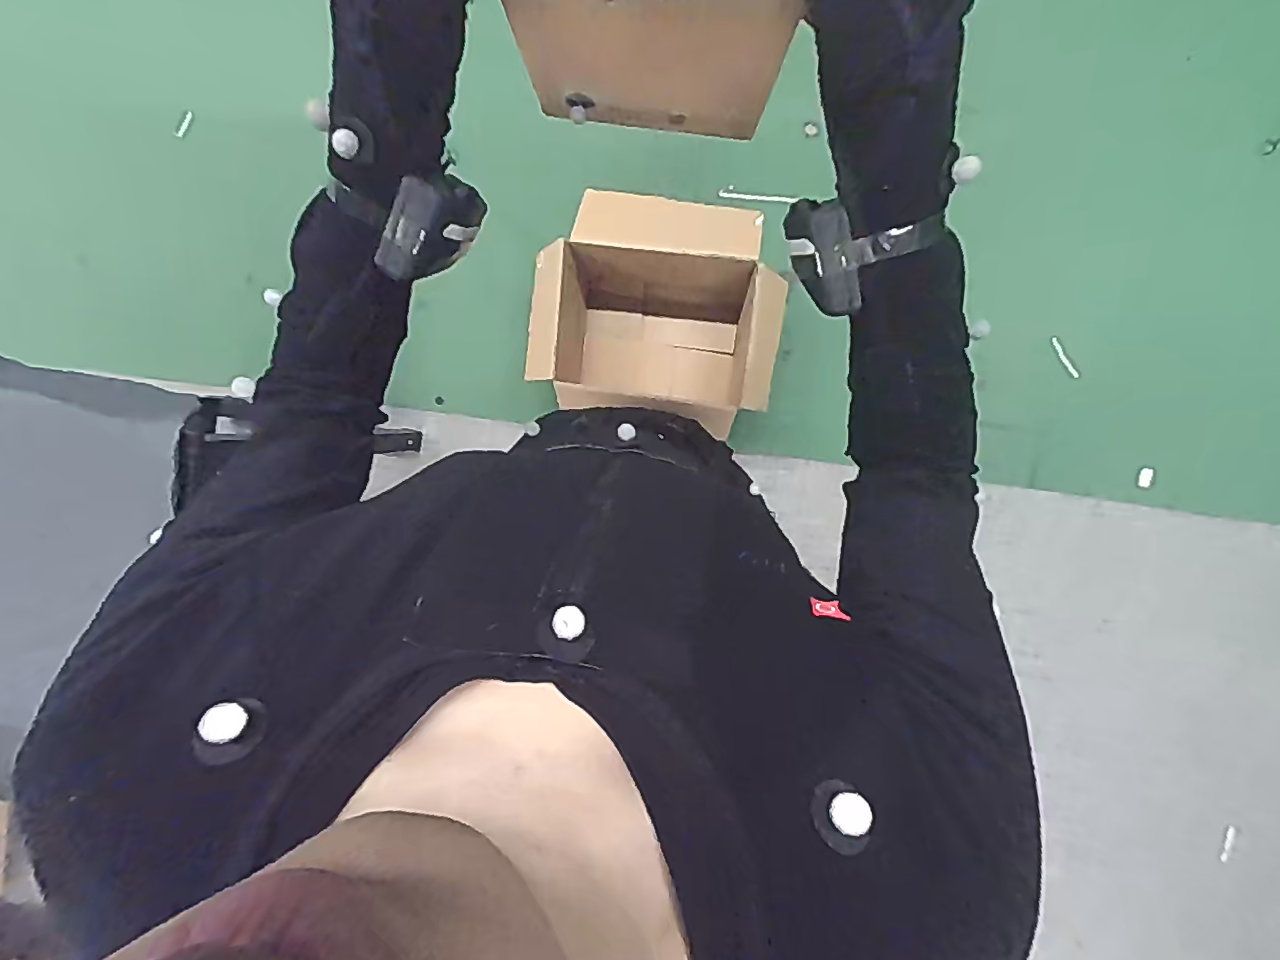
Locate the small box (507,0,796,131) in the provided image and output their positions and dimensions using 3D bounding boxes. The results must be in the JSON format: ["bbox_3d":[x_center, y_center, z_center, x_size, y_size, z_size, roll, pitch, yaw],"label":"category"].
[{"bbox_3d":[0.014,-0.346,0.326,0.168,0.176,0.179,6,98,-1],"label":"small box"}]

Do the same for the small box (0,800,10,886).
[{"bbox_3d":[-1.102,0.577,0.787,0.179,0.176,0.168,11,97,2],"label":"small box"}]
